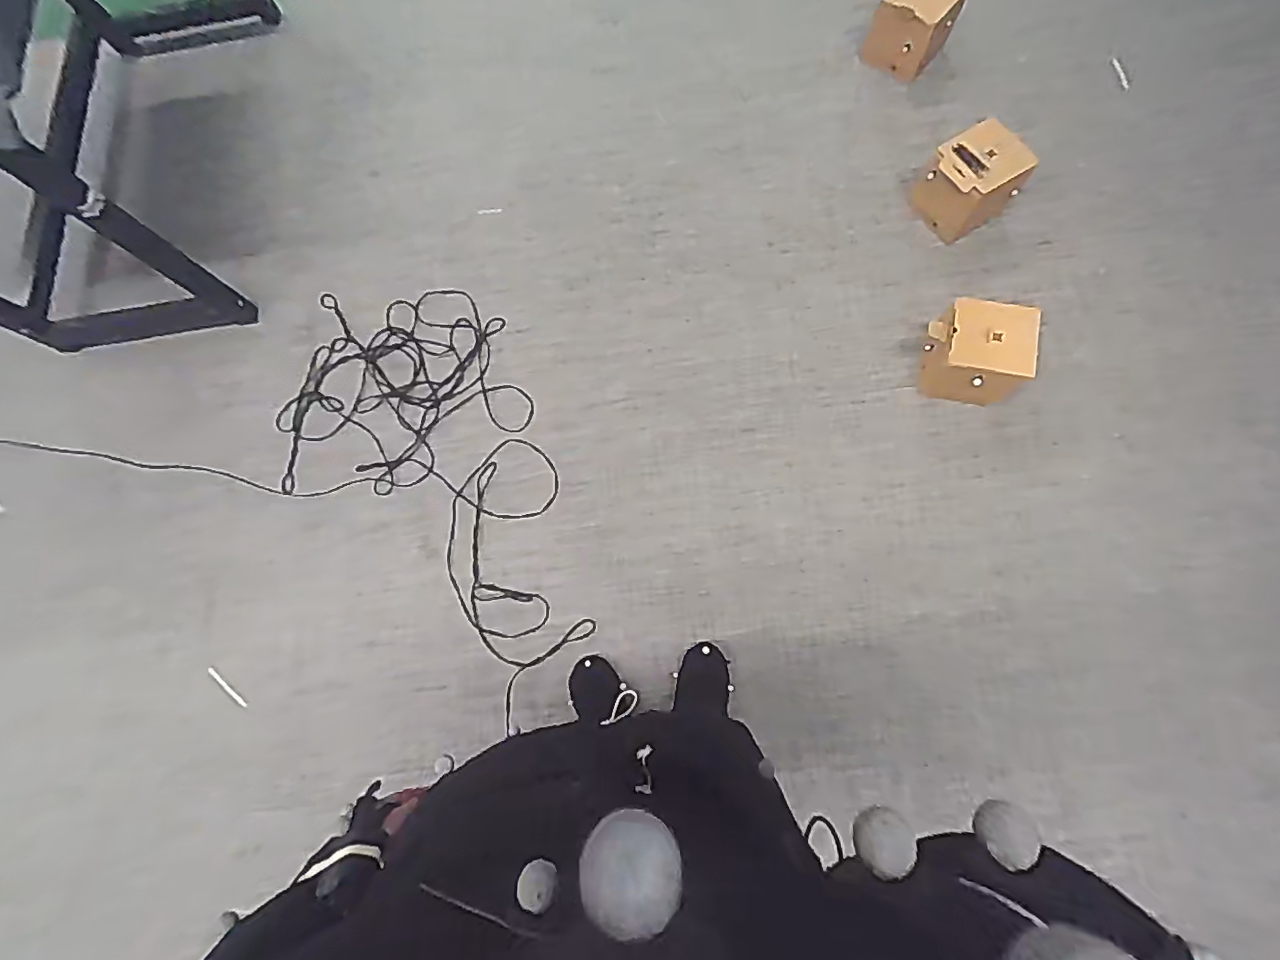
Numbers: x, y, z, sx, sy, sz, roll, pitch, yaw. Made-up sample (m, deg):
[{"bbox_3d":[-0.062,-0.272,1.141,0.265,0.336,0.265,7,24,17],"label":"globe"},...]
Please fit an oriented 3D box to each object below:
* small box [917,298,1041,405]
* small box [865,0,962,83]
[{"bbox_3d":[0.762,-0.284,1.228,0.179,0.176,0.168,12,77,8],"label":"small box"},{"bbox_3d":[0.744,-1.241,1.475,0.168,0.176,0.179,39,81,12],"label":"small box"}]
